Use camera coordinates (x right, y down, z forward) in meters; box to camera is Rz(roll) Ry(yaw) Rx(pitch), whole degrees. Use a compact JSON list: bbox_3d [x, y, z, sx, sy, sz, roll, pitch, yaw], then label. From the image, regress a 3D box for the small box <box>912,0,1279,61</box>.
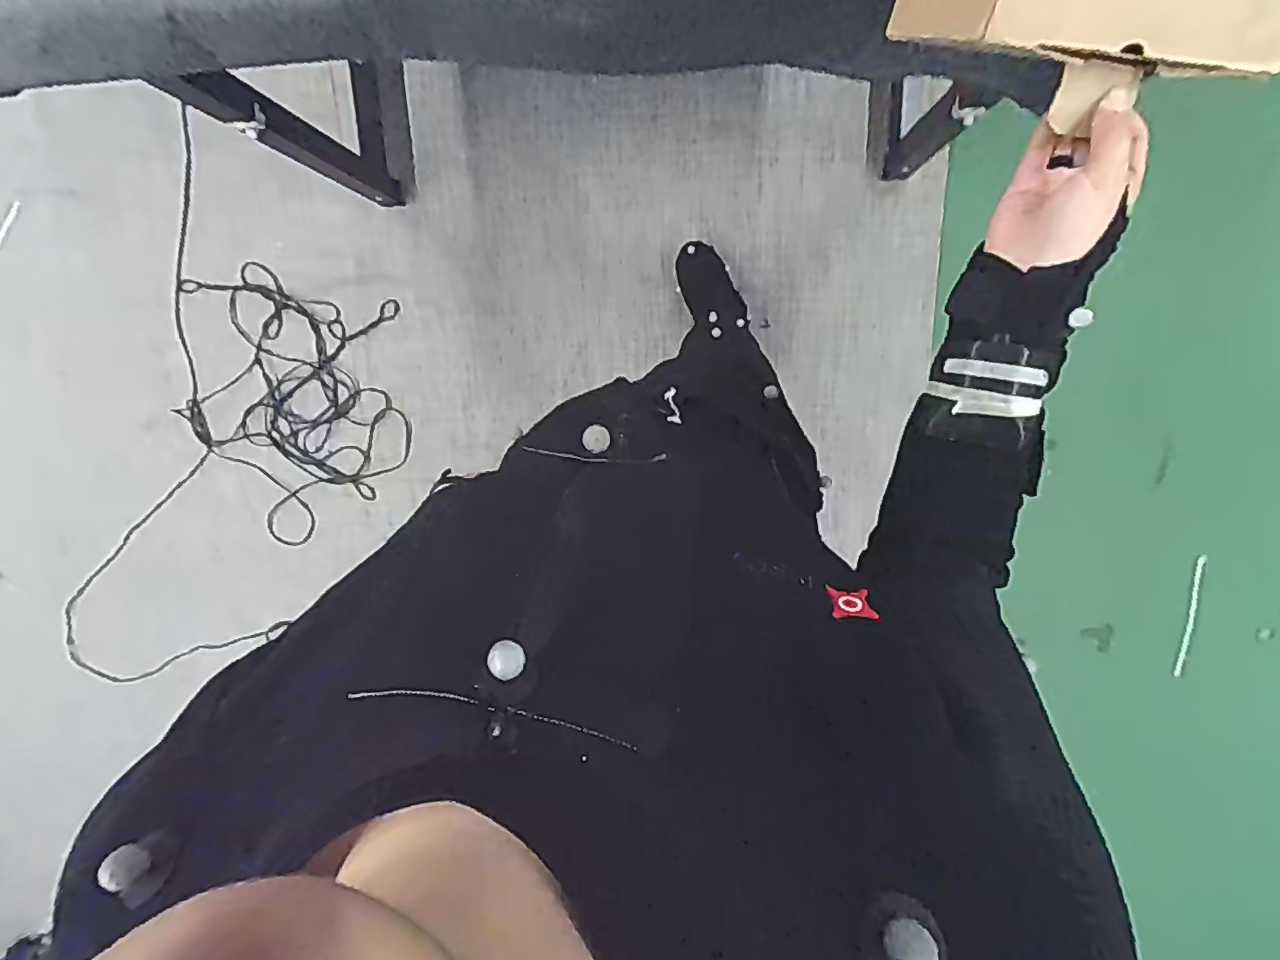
[{"bbox_3d":[0.272,-0.346,0.289,0.168,0.176,0.179,5,130,-1],"label":"small box"}]
